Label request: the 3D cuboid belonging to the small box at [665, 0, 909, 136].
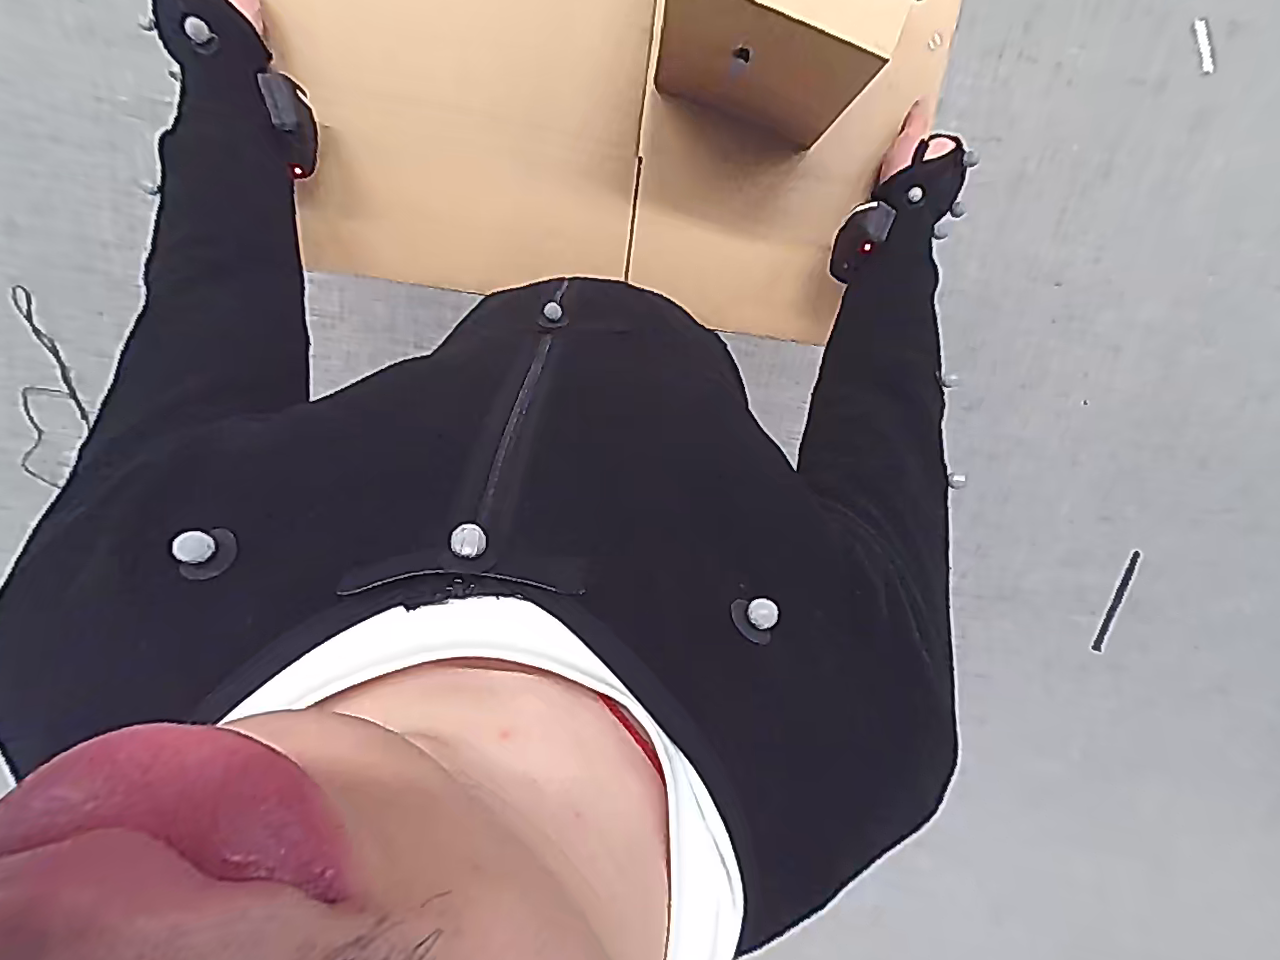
[{"bbox_3d":[0.128,-0.432,0.462,0.179,0.176,0.168,17,101,-5],"label":"small box"}]
